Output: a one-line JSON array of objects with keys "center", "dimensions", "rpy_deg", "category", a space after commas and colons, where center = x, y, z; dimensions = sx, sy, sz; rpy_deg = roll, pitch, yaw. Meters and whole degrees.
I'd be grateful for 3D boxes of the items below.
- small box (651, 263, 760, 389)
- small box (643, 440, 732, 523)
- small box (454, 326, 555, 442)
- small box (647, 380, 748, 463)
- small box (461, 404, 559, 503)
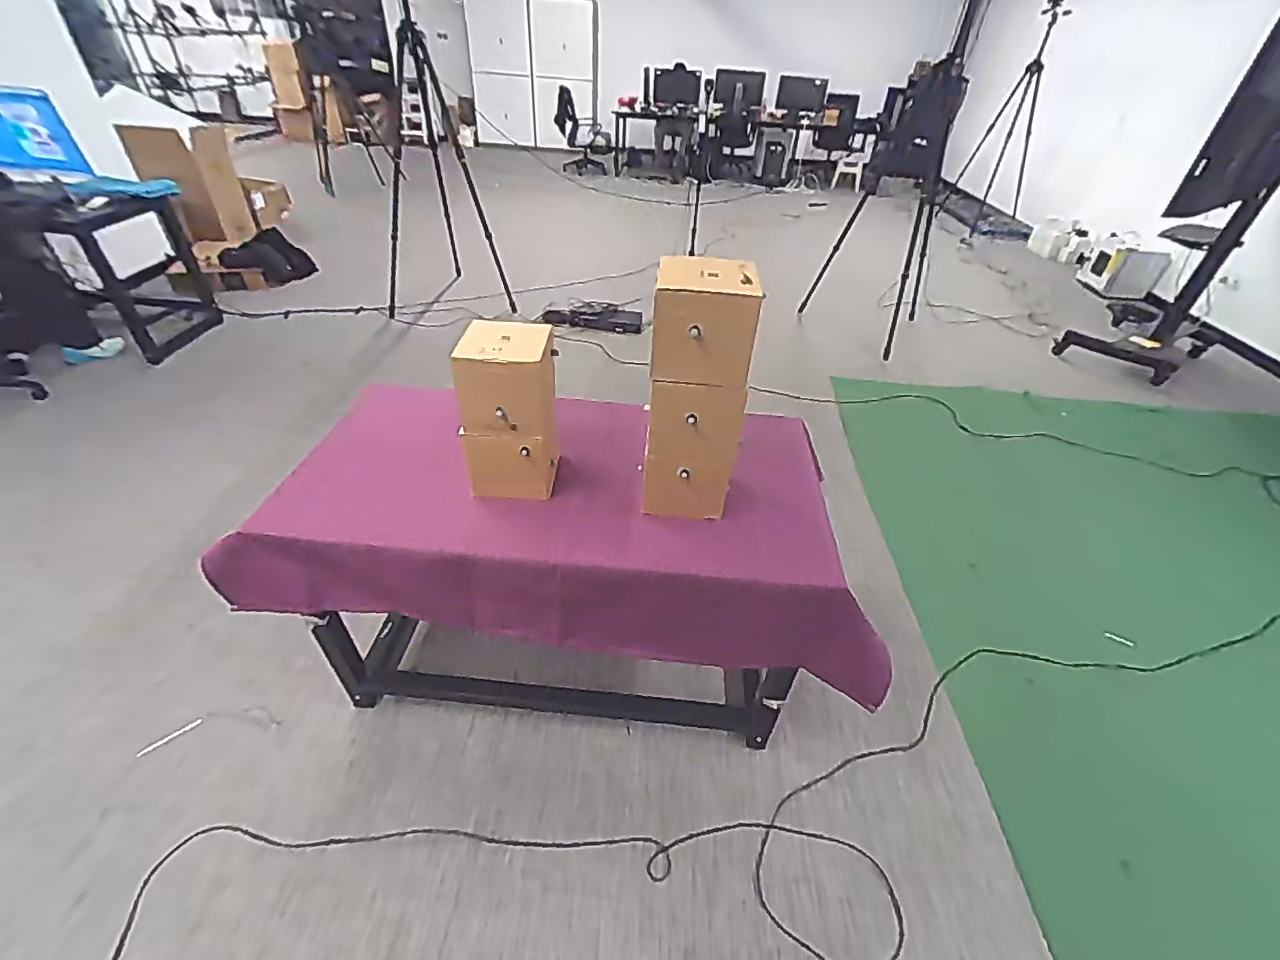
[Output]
[{"center": [0.112, -0.276, 0.973], "dimensions": [0.179, 0.176, 0.168], "rpy_deg": [4, 40, 3], "category": "small box"}, {"center": [0.100, -0.023, 1.182], "dimensions": [0.179, 0.176, 0.168], "rpy_deg": [6, 40, 2], "category": "small box"}, {"center": [-0.267, -0.198, 1.111], "dimensions": [0.168, 0.176, 0.179], "rpy_deg": [3, 39, -1], "category": "small box"}, {"center": [0.111, -0.149, 1.077], "dimensions": [0.179, 0.176, 0.168], "rpy_deg": [5, 40, 3], "category": "small box"}, {"center": [-0.281, -0.063, 1.207], "dimensions": [0.179, 0.176, 0.168], "rpy_deg": [3, 39, -2], "category": "small box"}]
